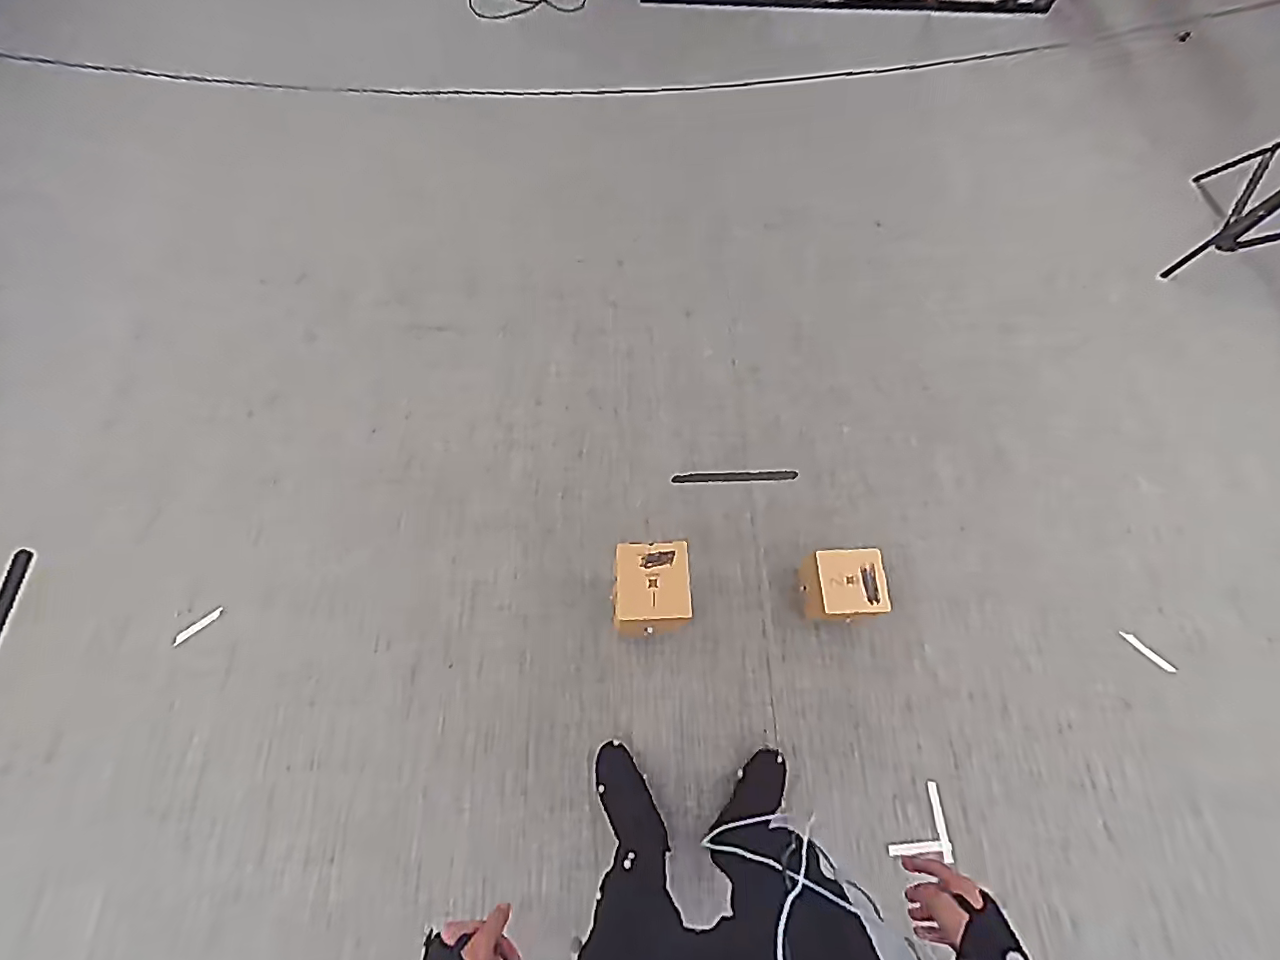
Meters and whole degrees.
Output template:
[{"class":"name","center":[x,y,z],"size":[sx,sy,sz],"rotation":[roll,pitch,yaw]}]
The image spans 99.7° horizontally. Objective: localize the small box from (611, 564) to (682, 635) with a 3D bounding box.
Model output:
[{"class":"small box","center":[0.012,0.320,1.440],"size":[0.179,0.176,0.168],"rotation":[-2,68,-2]}]

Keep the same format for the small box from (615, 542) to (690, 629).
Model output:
[{"class":"small box","center":[0.023,0.256,1.289],"size":[0.168,0.176,0.179],"rotation":[-2,69,-2]}]
